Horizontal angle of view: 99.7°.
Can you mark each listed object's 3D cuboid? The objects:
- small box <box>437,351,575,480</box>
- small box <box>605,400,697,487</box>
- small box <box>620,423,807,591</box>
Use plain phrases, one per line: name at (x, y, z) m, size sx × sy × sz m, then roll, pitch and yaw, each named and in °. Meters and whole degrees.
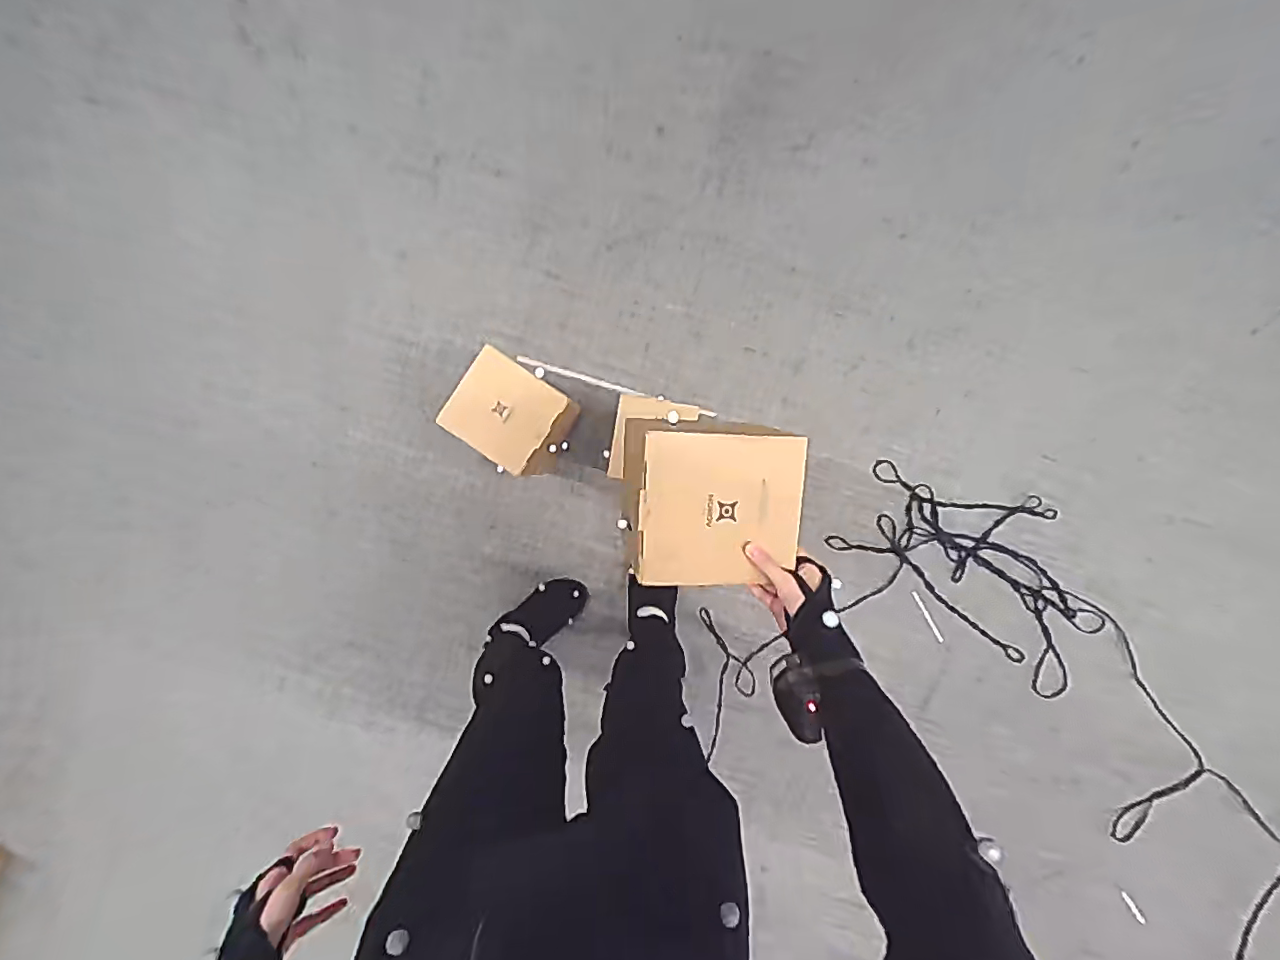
small box at (-0.242, -0.112, 1.021) m, size 0.179 × 0.176 × 0.168 m, roll 34°, pitch 91°, yaw -2°
small box at (0.025, -0.066, 1.181) m, size 0.168 × 0.176 × 0.179 m, roll 10°, pitch 91°, yaw 0°
small box at (0.073, 0.023, 0.641) m, size 0.179 × 0.176 × 0.168 m, roll 2°, pitch 101°, yaw -9°
